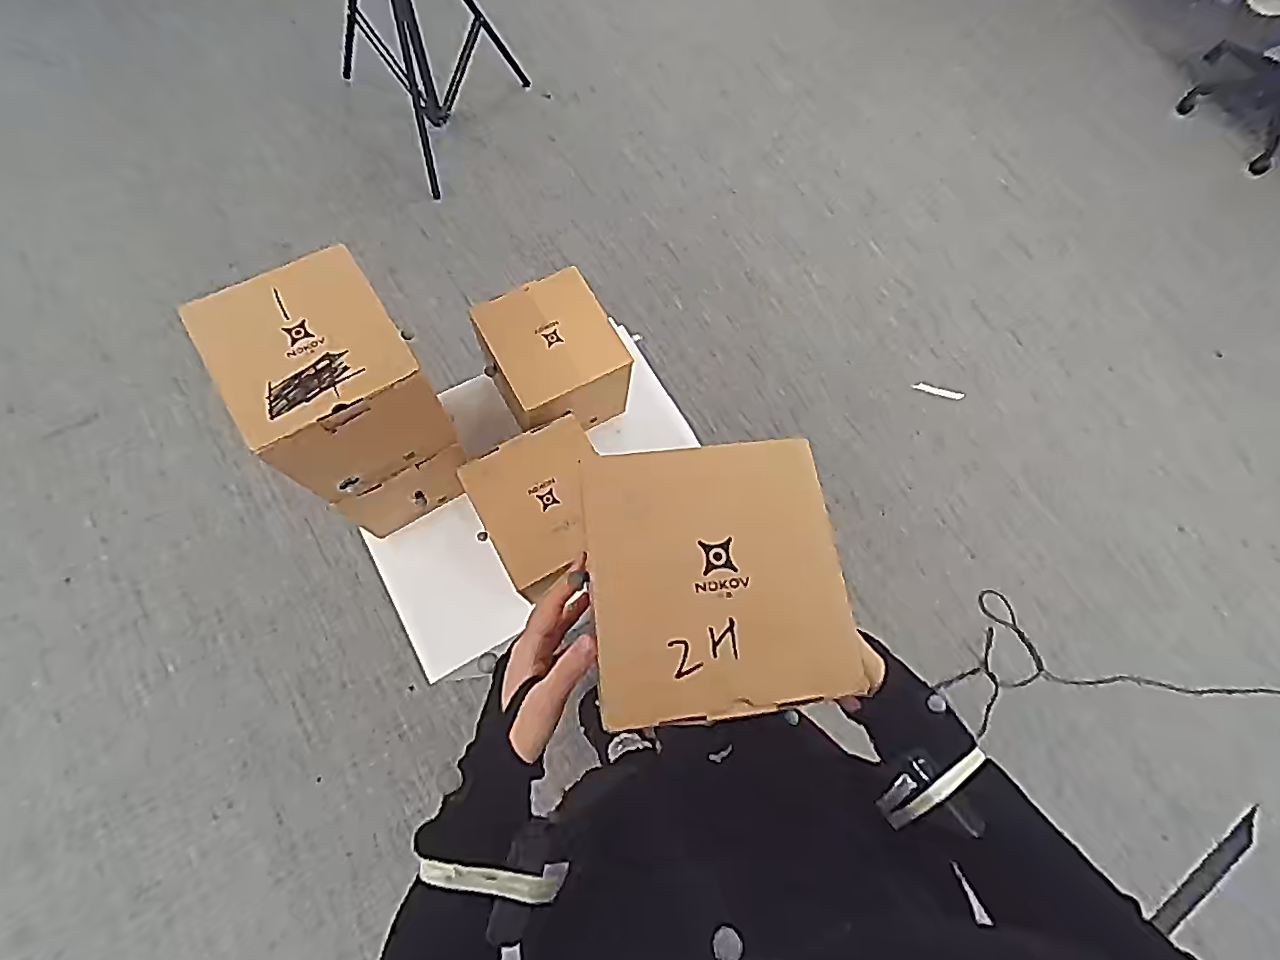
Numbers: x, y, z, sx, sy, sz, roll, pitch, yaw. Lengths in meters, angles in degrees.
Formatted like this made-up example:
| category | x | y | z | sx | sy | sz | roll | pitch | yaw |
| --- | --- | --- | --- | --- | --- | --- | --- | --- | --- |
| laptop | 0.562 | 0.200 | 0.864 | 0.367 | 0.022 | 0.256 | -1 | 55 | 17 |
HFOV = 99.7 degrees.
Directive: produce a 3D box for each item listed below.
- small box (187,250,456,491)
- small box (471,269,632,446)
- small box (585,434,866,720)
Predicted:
| category | x | y | z | sx | sy | sz | roll | pitch | yaw |
| --- | --- | --- | --- | --- | --- | --- | --- | --- | --- |
| small box | -0.328 | -0.105 | 0.595 | 0.168 | 0.176 | 0.179 | -31 | 77 | -15 |
| small box | -0.126 | -0.169 | 0.811 | 0.168 | 0.176 | 0.179 | -28 | 77 | -13 |
| small box | 0.045 | 0.081 | 0.430 | 0.168 | 0.176 | 0.179 | -6 | 72 | -7 |
